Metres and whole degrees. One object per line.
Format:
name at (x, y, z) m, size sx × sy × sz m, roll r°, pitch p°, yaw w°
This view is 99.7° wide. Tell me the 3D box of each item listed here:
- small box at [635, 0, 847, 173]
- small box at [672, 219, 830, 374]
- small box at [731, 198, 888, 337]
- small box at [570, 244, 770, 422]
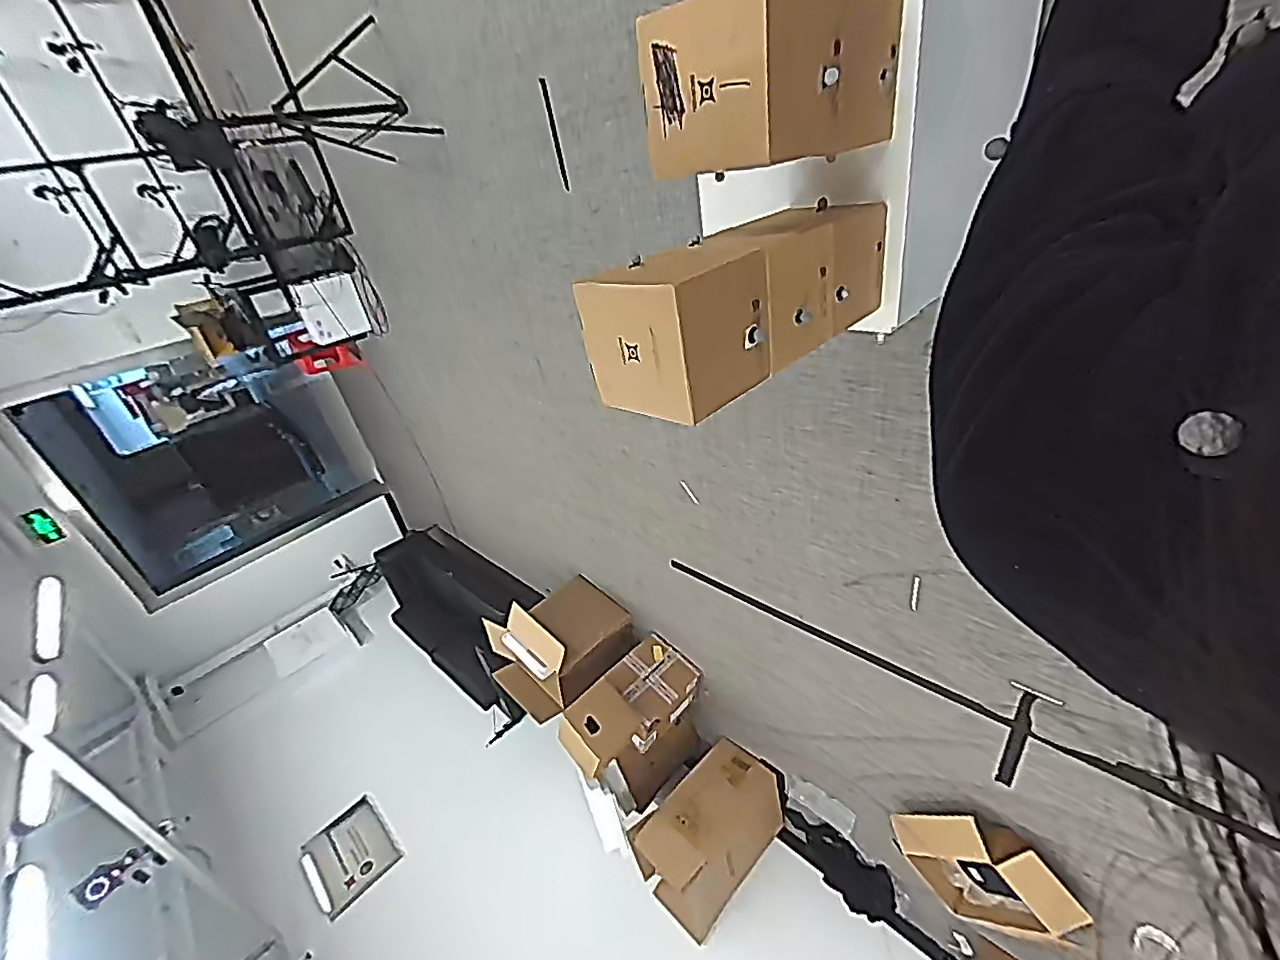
small box at (0.121, -0.475, 0.644) m, size 0.179 × 0.176 × 0.168 m, roll 22°, pitch 134°, yaw 39°
small box at (0.157, -0.269, 0.778) m, size 0.179 × 0.176 × 0.168 m, roll 20°, pitch 133°, yaw 42°
small box at (0.269, -0.344, 0.868) m, size 0.179 × 0.176 × 0.168 m, roll 22°, pitch 135°, yaw 42°
small box at (0.043, -0.194, 0.690) m, size 0.179 × 0.176 × 0.168 m, roll 19°, pitch 133°, yaw 42°
